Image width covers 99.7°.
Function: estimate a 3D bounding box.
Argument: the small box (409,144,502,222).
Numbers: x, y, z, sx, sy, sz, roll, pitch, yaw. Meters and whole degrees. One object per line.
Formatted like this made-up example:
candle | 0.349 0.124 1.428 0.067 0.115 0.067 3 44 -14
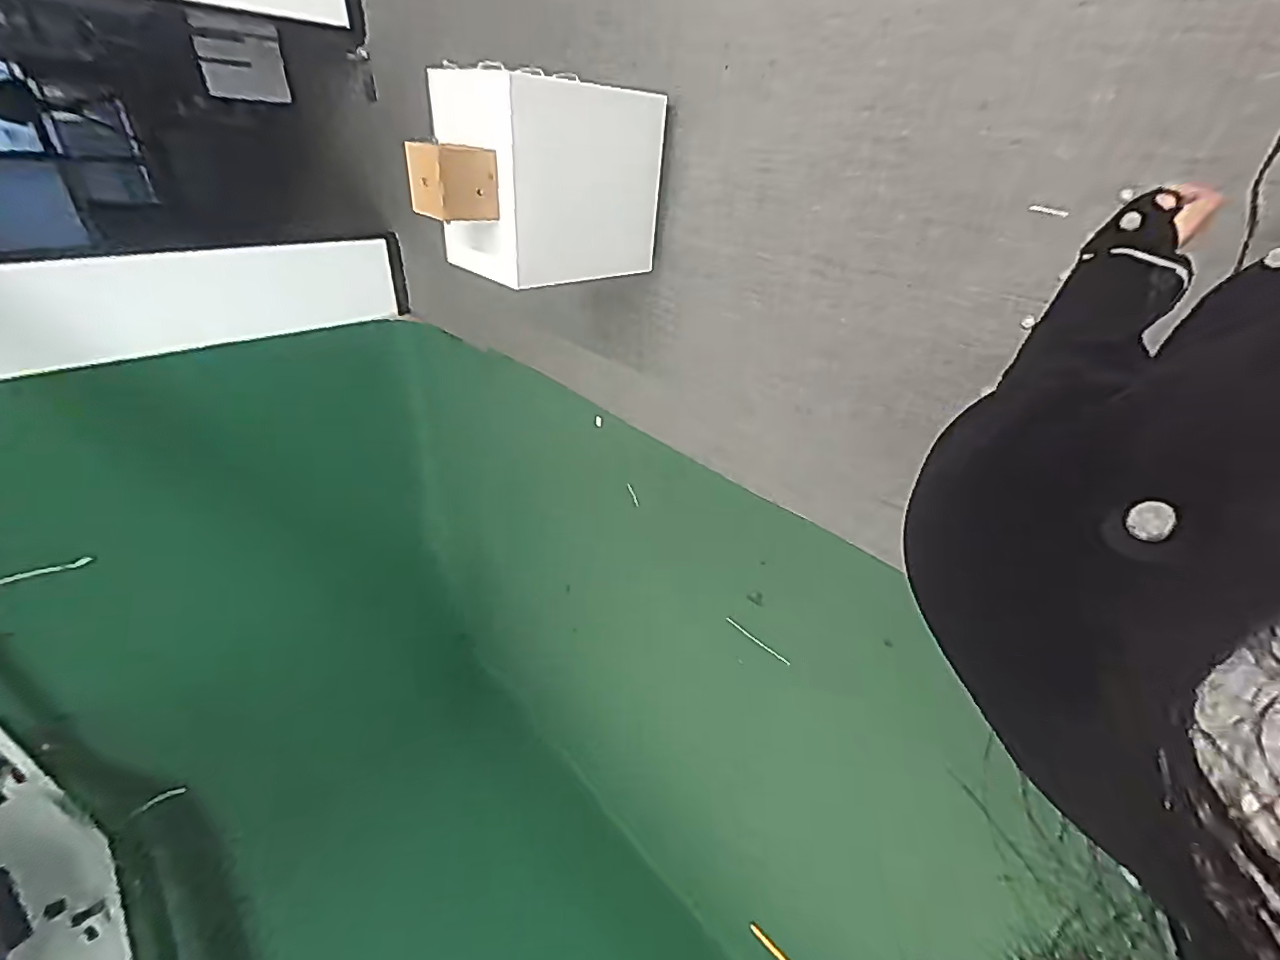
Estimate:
small box | -0.489 -0.792 1.443 0.179 0.176 0.168 32 131 35
